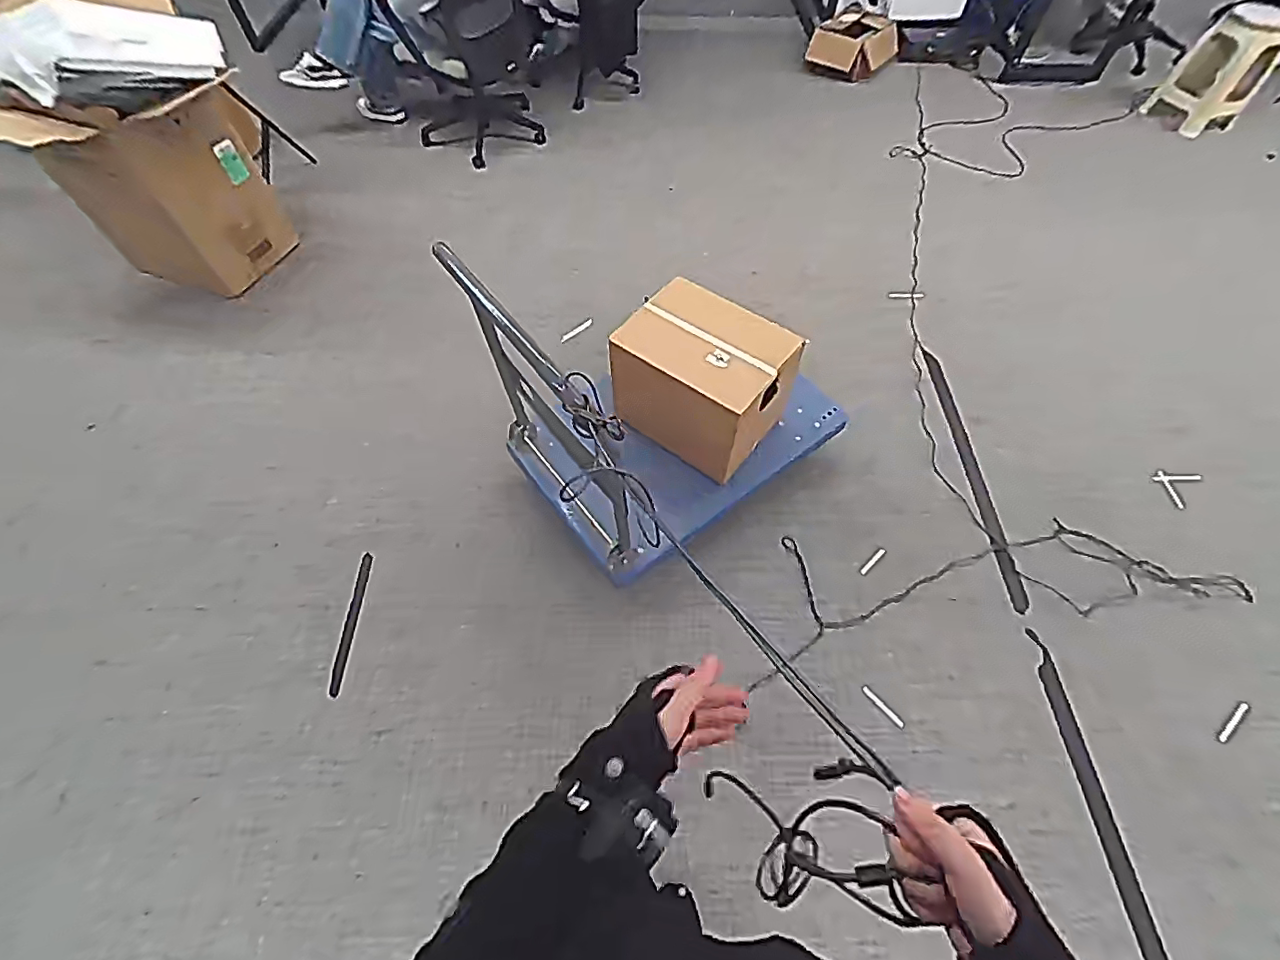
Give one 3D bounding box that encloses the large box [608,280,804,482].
[{"bbox_3d":[0.163,-0.269,1.482,0.408,0.320,0.320,34,65,18],"label":"large box"}]
